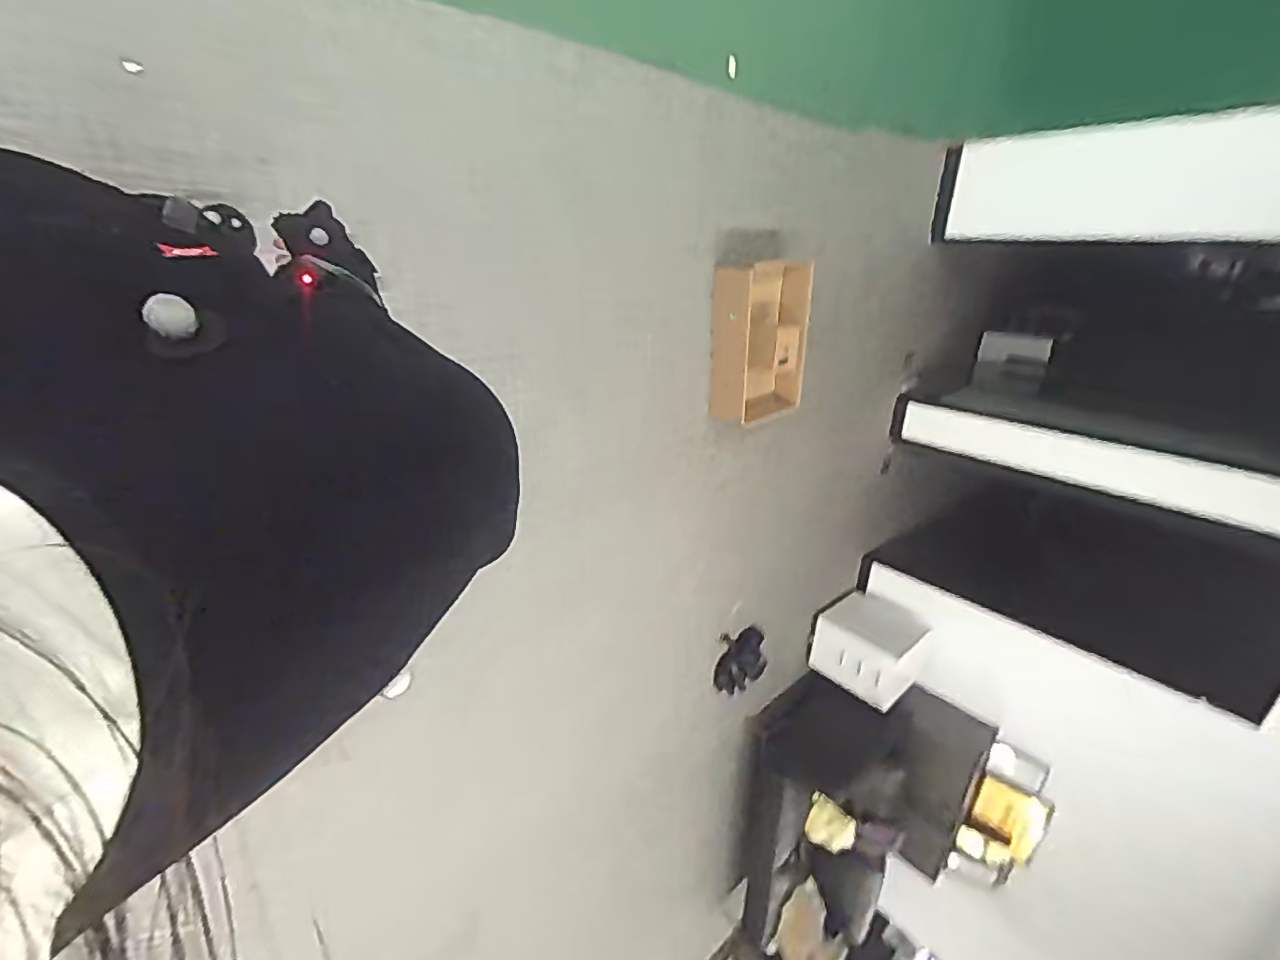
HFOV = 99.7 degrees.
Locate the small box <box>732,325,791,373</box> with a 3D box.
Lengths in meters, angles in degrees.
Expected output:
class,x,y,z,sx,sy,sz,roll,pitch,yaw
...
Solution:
class,x,y,z,sx,sy,sz,roll,pitch,yaw
small box,0.494,-0.543,2.223,0.168,0.176,0.179,-16,116,-41
